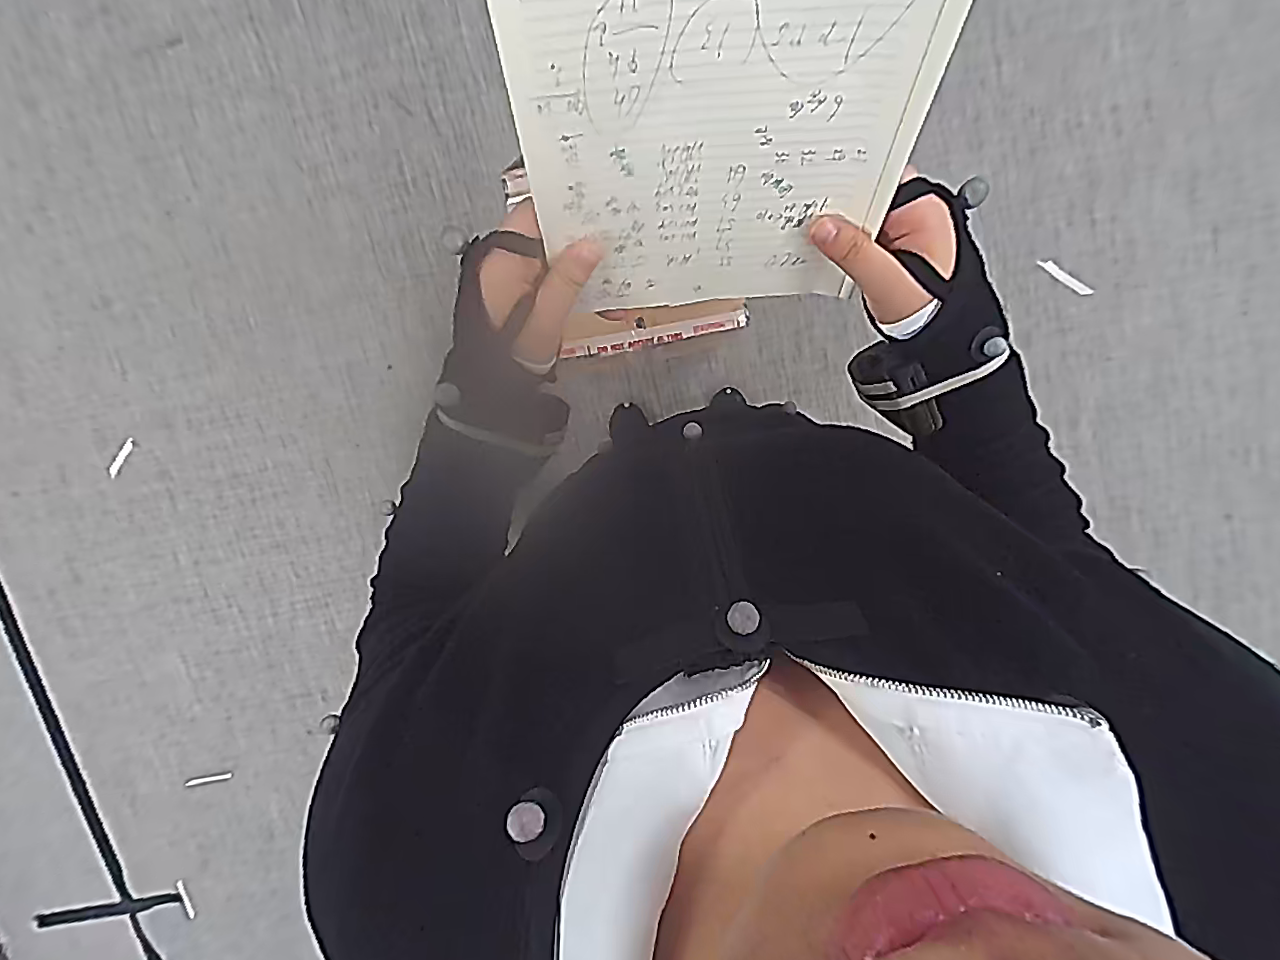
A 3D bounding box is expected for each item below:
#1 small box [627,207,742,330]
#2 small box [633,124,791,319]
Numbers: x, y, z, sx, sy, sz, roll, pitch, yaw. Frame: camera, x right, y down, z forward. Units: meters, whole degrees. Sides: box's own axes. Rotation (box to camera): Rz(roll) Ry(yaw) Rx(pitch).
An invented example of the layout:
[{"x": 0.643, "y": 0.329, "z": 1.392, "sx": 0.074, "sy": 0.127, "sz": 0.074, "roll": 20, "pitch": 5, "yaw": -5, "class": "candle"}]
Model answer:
[{"x": 0.081, "y": -0.351, "z": 0.877, "sx": 0.179, "sy": 0.176, "sz": 0.168, "roll": -14, "pitch": 99, "yaw": 2, "class": "small box"}, {"x": 0.085, "y": -0.325, "z": 0.715, "sx": 0.168, "sy": 0.176, "sz": 0.179, "roll": -11, "pitch": 100, "yaw": 1, "class": "small box"}]
